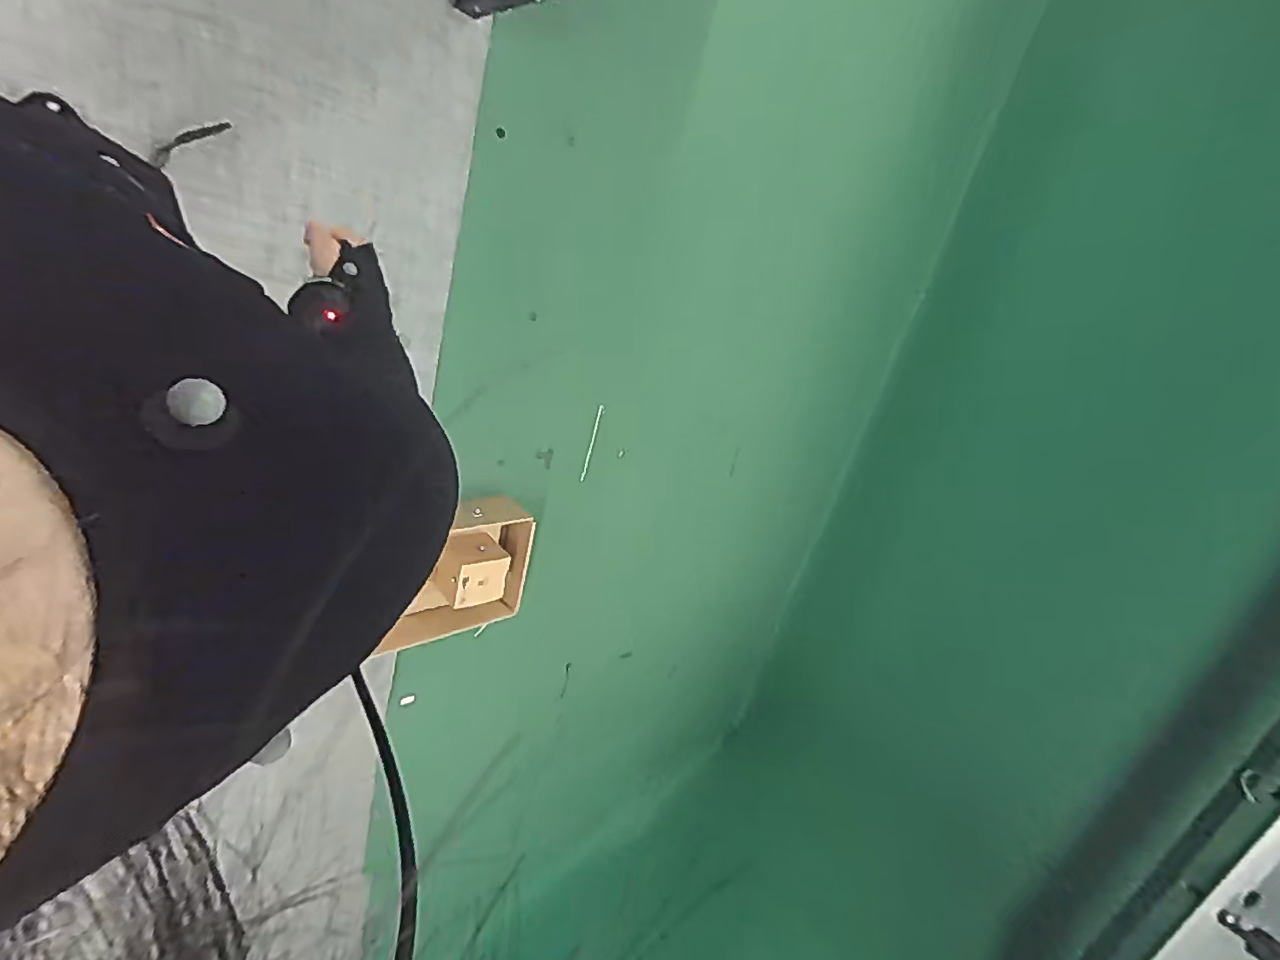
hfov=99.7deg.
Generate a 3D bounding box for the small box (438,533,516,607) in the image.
[{"bbox_3d":[-0.538,0.286,1.777,0.179,0.176,0.168,-5,119,-44],"label":"small box"}]
